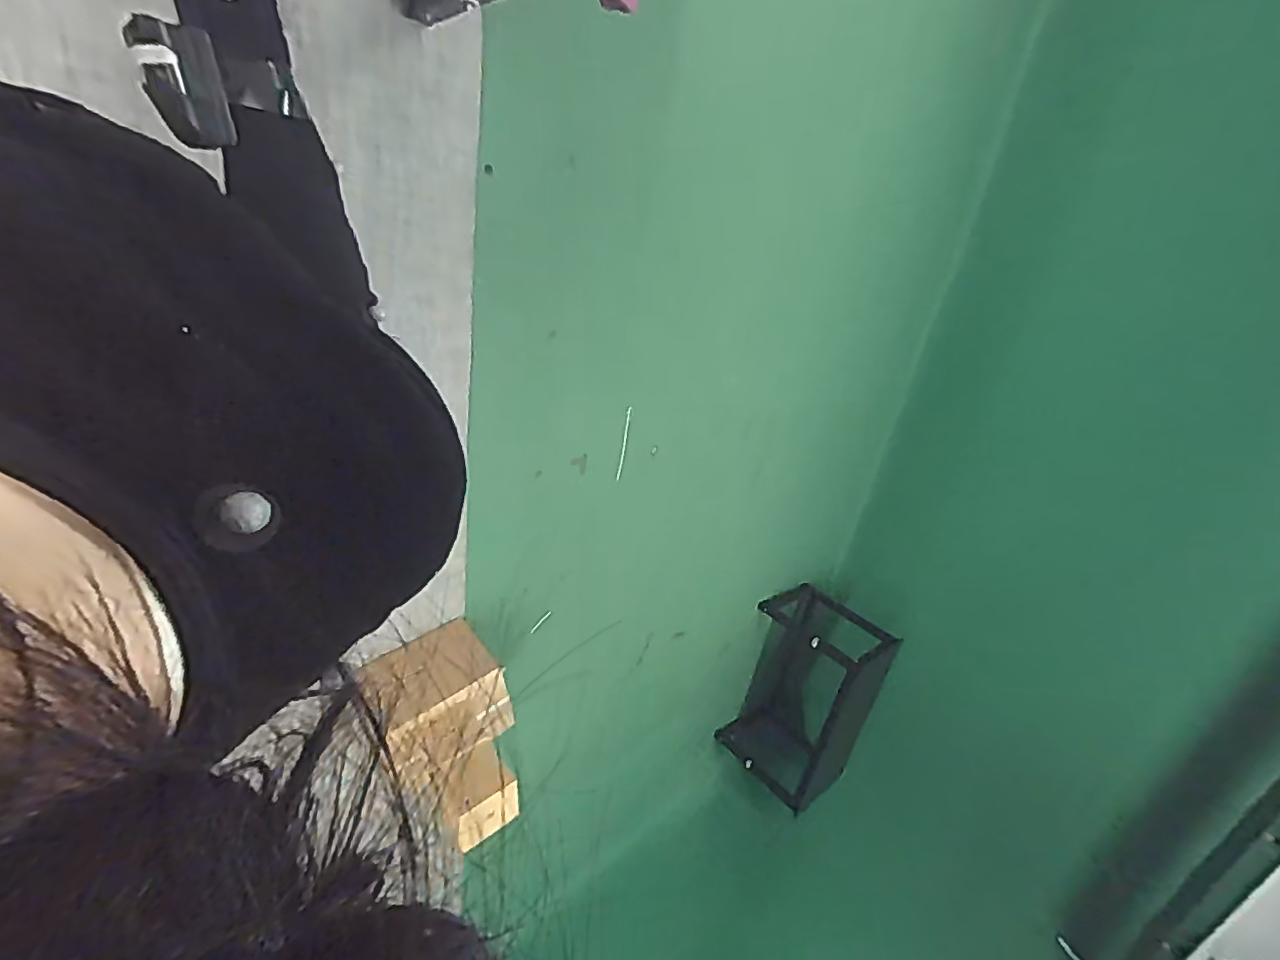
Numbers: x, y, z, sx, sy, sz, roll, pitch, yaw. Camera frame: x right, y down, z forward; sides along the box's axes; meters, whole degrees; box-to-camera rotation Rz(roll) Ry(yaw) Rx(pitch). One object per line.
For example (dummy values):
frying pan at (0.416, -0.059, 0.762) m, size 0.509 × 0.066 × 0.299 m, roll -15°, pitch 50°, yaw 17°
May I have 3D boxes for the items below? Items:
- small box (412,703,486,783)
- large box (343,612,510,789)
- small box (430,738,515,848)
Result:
small box at (-0.578, 0.813, 1.650) m, size 0.168 × 0.176 × 0.179 m, roll -20°, pitch 126°, yaw -35°
large box at (-0.717, 0.731, 1.842) m, size 0.408 × 0.320 × 0.320 m, roll -26°, pitch 131°, yaw -33°
small box at (-0.476, 0.884, 1.546) m, size 0.179 × 0.176 × 0.168 m, roll -19°, pitch 125°, yaw -36°
